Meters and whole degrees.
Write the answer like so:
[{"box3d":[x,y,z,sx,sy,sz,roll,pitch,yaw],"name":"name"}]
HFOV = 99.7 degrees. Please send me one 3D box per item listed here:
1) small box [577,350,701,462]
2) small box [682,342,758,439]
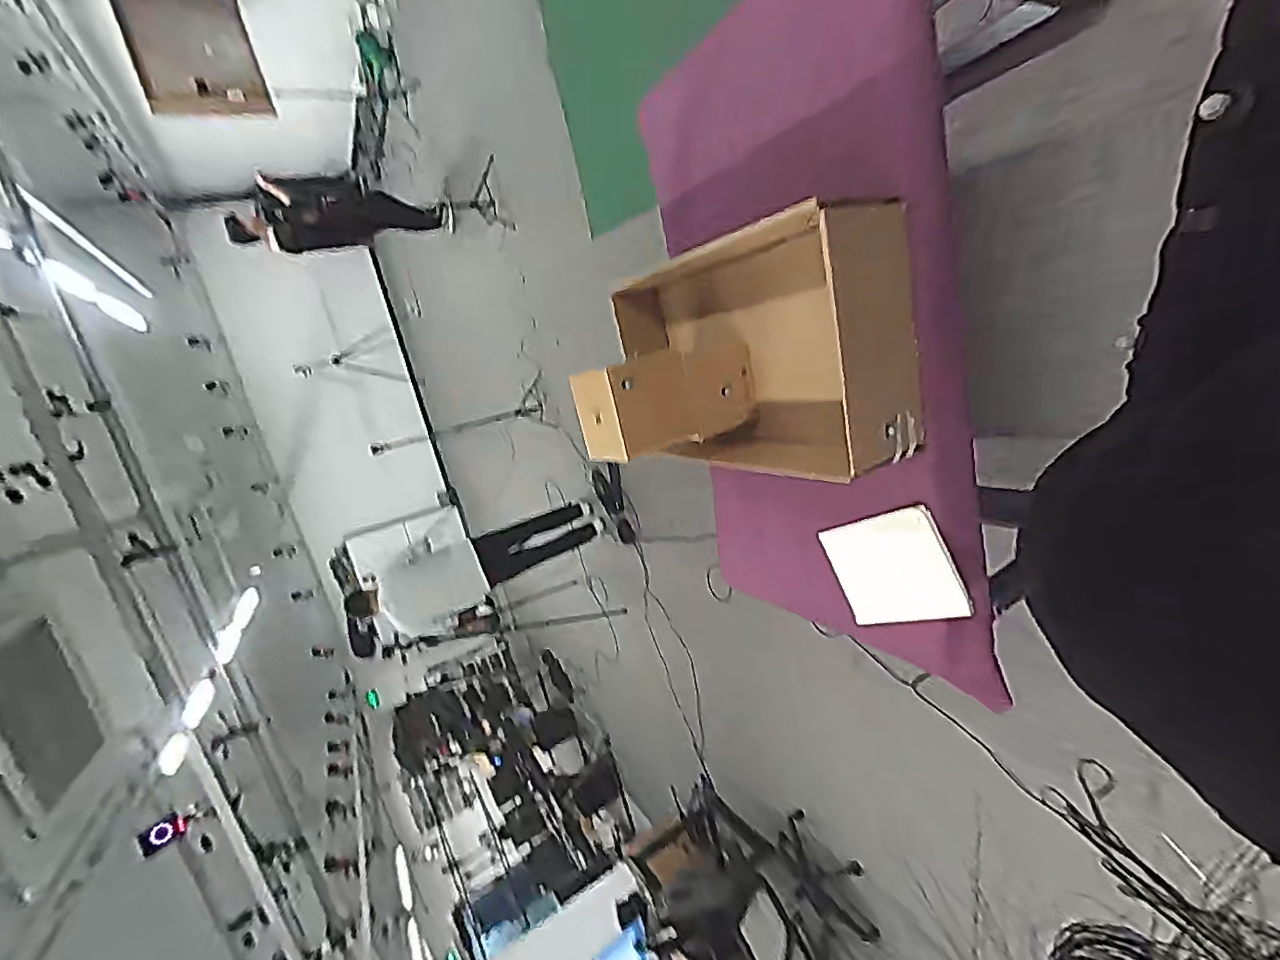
[{"box3d":[0.000,-0.146,1.073,0.168,0.176,0.179,6,113,59],"name":"small box"},{"box3d":[0.134,-0.190,1.151,0.179,0.176,0.168,11,117,58],"name":"small box"}]
